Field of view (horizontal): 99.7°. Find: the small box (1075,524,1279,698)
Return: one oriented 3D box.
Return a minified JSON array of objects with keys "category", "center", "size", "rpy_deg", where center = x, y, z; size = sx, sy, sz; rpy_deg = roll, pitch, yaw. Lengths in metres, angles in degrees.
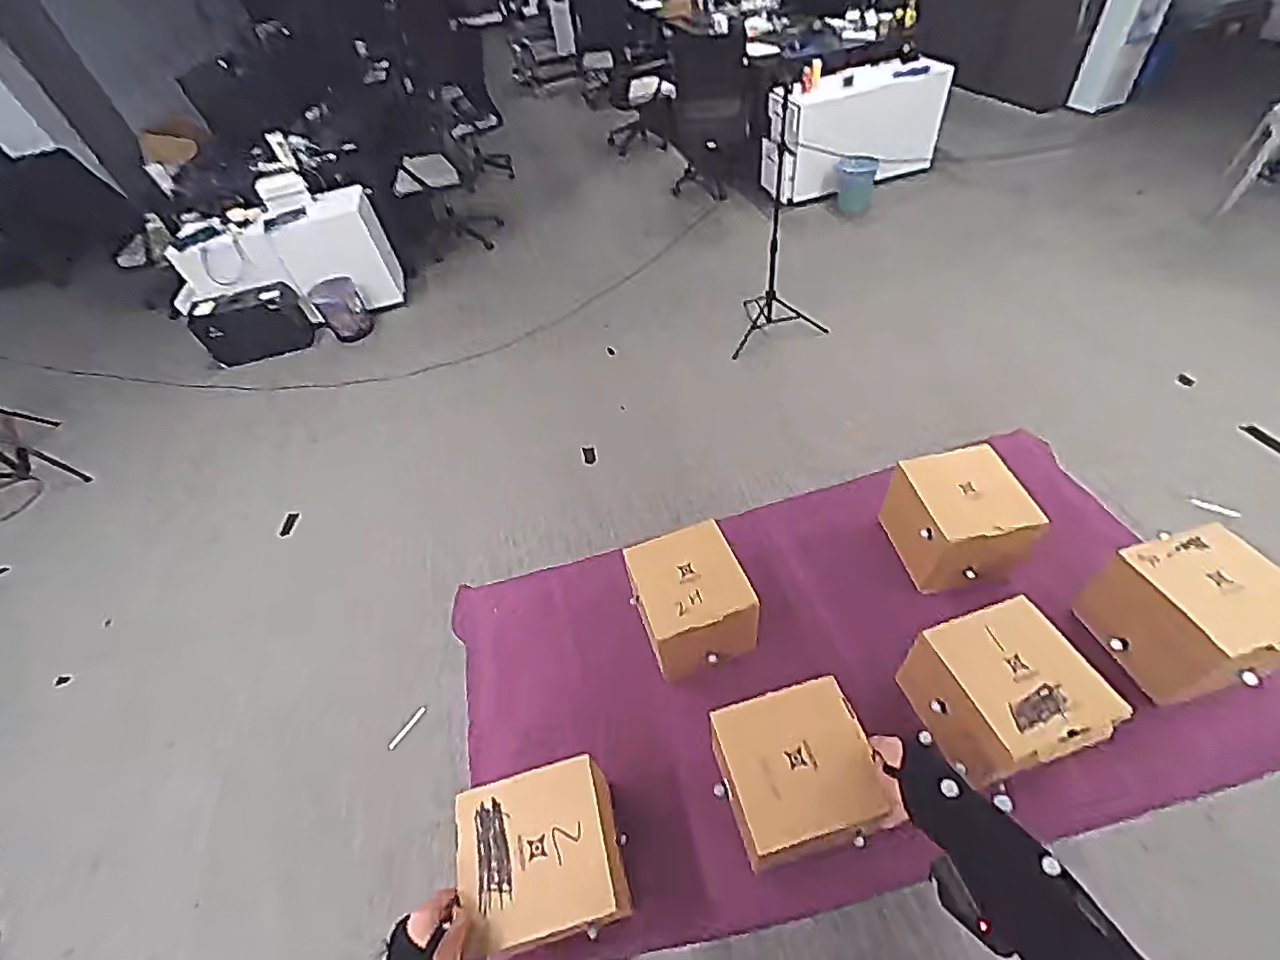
[{"category":"small box","center":[0.802,0.197,0.788],"size":[0.168,0.176,0.179],"rpy_deg":[-14,46,-3]}]

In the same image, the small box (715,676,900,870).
[{"category":"small box","center":[0.205,0.390,0.719],"size":[0.179,0.176,0.168],"rpy_deg":[-14,47,-5]}]

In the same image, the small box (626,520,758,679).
[{"category":"small box","center":[0.085,0.202,0.912],"size":[0.168,0.176,0.179],"rpy_deg":[-18,48,-7]}]

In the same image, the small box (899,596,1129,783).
[{"category":"small box","center":[0.497,0.297,0.753],"size":[0.168,0.176,0.179],"rpy_deg":[-17,47,-6]}]

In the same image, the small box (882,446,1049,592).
[{"category":"small box","center":[0.553,0.070,0.952],"size":[0.168,0.176,0.179],"rpy_deg":[-11,49,0]}]
